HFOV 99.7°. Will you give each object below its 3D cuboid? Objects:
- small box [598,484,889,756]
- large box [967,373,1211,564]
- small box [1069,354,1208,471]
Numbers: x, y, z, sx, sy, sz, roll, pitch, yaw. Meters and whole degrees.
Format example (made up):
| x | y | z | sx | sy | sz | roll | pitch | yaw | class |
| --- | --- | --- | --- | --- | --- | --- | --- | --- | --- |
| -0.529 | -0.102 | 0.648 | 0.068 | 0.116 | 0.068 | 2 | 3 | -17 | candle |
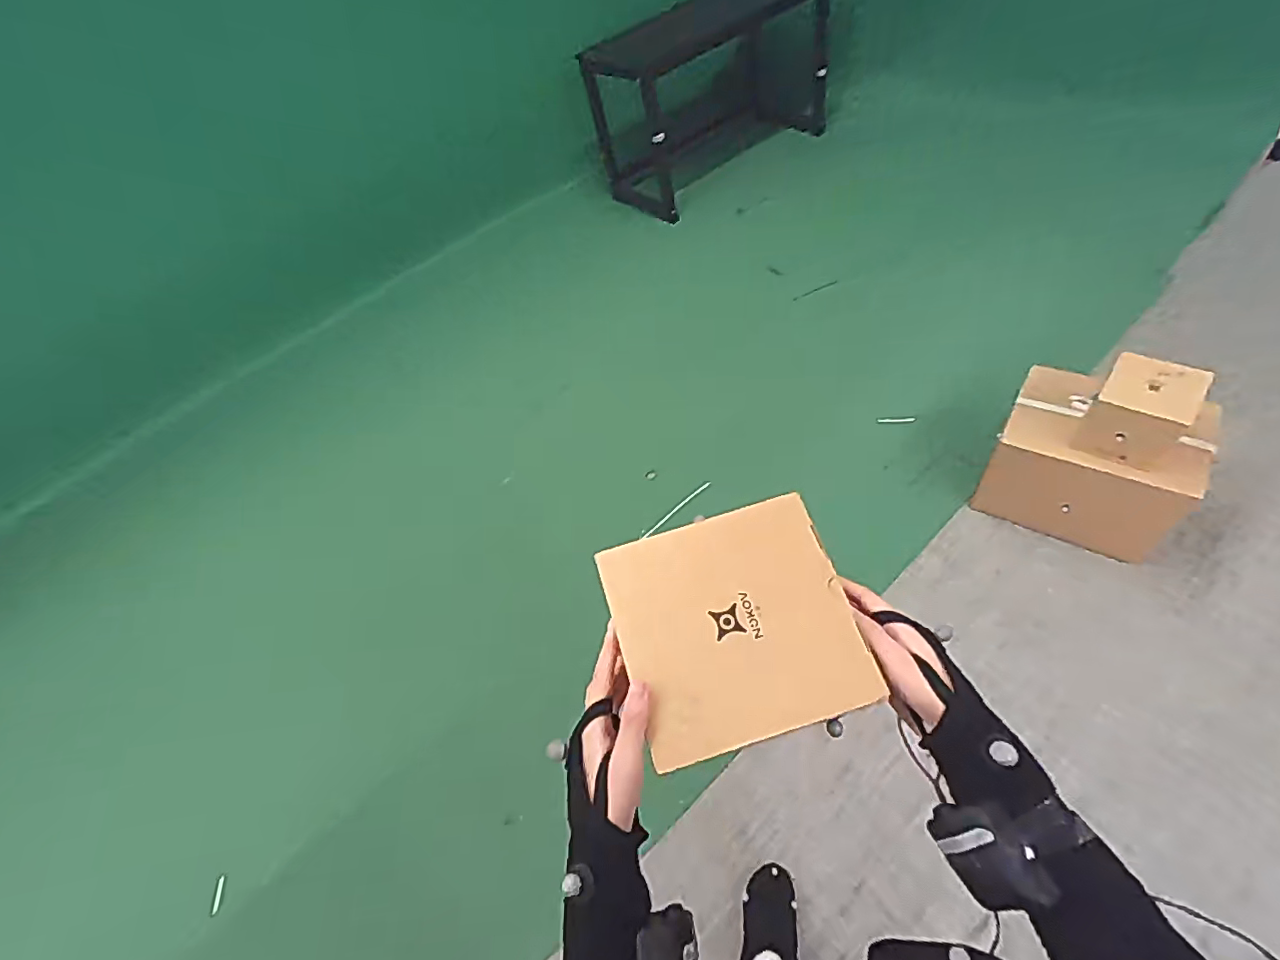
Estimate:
| x | y | z | sx | sy | sz | roll | pitch | yaw | class |
| --- | --- | --- | --- | --- | --- | --- | --- | --- | --- |
| 0.075 | 0.129 | 0.474 | 0.179 | 0.176 | 0.168 | -16 | 66 | -5 | small box |
| 1.183 | -0.035 | 1.462 | 0.408 | 0.320 | 0.320 | 23 | 61 | 30 | large box |
| 1.134 | -0.151 | 1.246 | 0.168 | 0.176 | 0.179 | 30 | 66 | 31 | small box |
